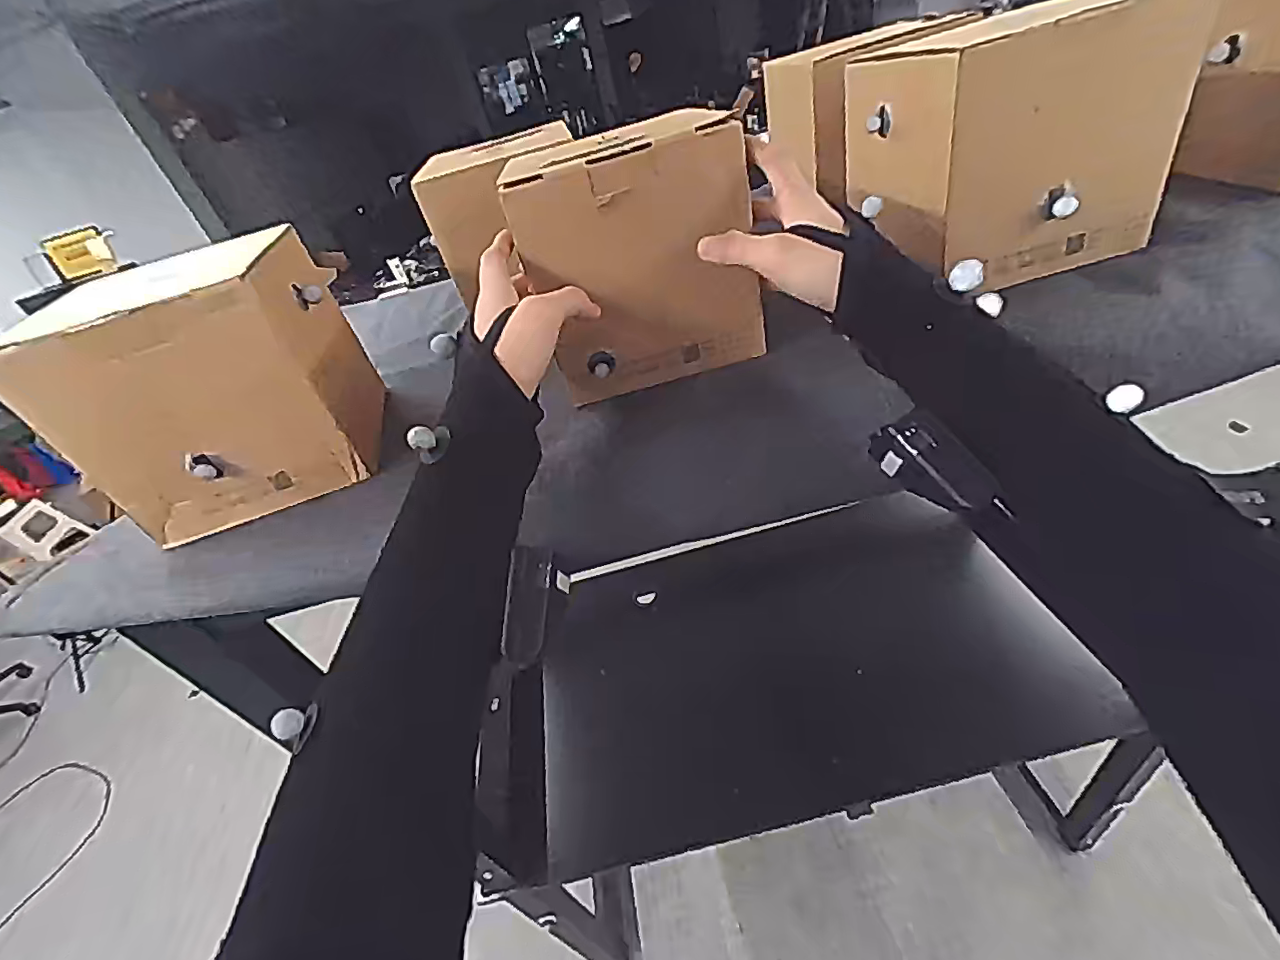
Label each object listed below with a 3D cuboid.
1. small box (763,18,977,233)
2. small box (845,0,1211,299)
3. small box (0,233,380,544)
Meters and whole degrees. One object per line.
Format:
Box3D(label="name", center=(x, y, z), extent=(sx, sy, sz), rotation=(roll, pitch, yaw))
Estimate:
Box3D(label="small box", center=(0.258, -0.418, 0.646), extent=(0.179, 0.176, 0.168), rotation=(-14, 37, 3))
Box3D(label="small box", center=(0.282, -0.268, 0.446), extent=(0.168, 0.176, 0.179), rotation=(-15, 36, 3))
Box3D(label="small box", center=(-0.336, -0.079, 0.444), extent=(0.168, 0.176, 0.179), rotation=(-21, 39, -7))
